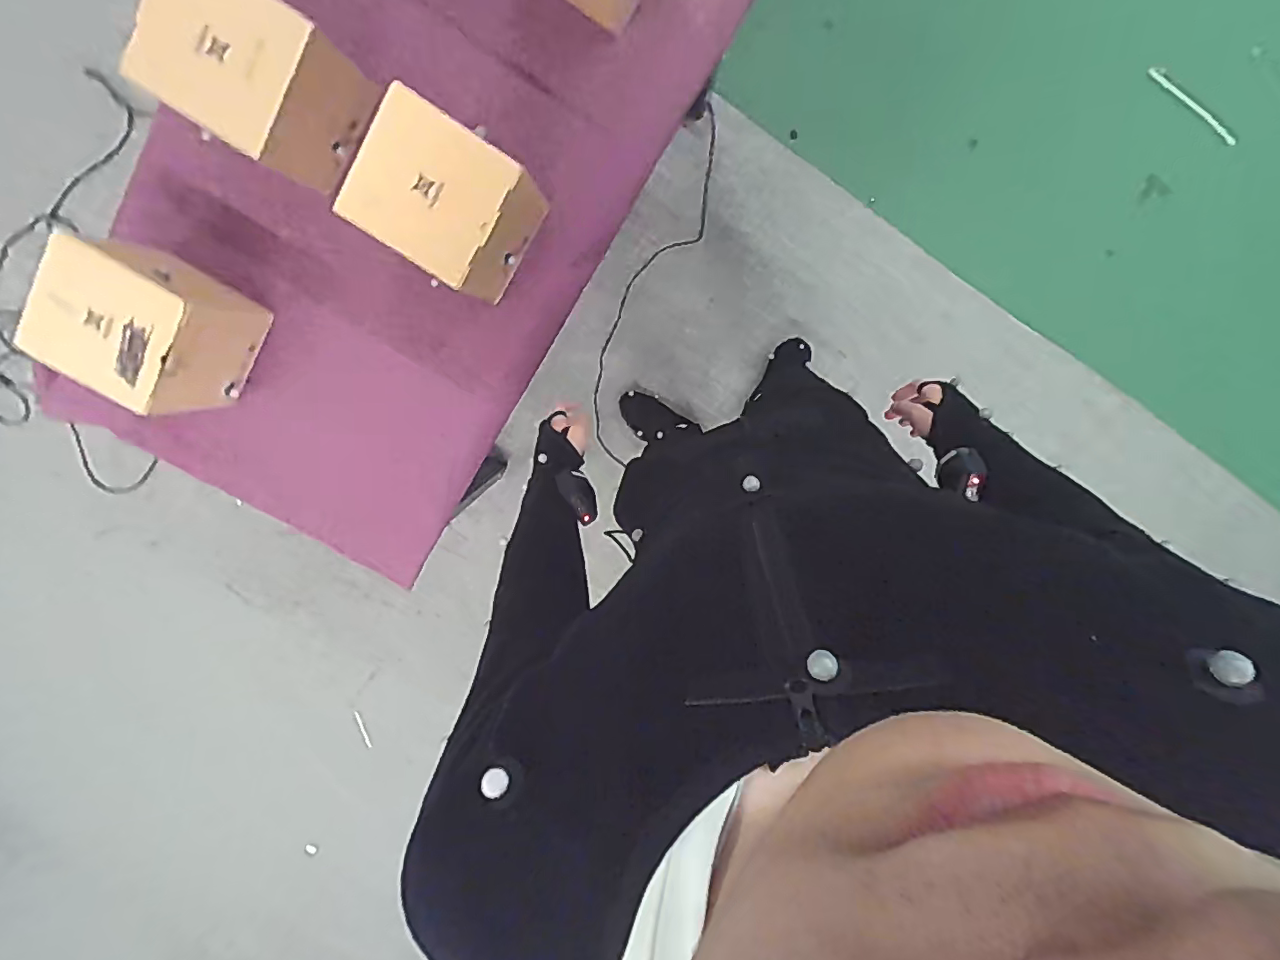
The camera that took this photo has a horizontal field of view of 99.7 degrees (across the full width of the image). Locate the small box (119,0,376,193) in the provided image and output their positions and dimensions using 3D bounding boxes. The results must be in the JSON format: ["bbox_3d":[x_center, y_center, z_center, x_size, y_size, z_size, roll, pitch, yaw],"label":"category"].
[{"bbox_3d":[-0.486,-0.507,0.696,0.179,0.176,0.168,32,101,-7],"label":"small box"}]

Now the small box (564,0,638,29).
[{"bbox_3d":[-0.064,-0.705,0.648,0.179,0.176,0.168,33,101,-5],"label":"small box"}]

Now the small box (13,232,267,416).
[{"bbox_3d":[-0.678,-0.211,0.757,0.179,0.176,0.168,31,100,-6],"label":"small box"}]
